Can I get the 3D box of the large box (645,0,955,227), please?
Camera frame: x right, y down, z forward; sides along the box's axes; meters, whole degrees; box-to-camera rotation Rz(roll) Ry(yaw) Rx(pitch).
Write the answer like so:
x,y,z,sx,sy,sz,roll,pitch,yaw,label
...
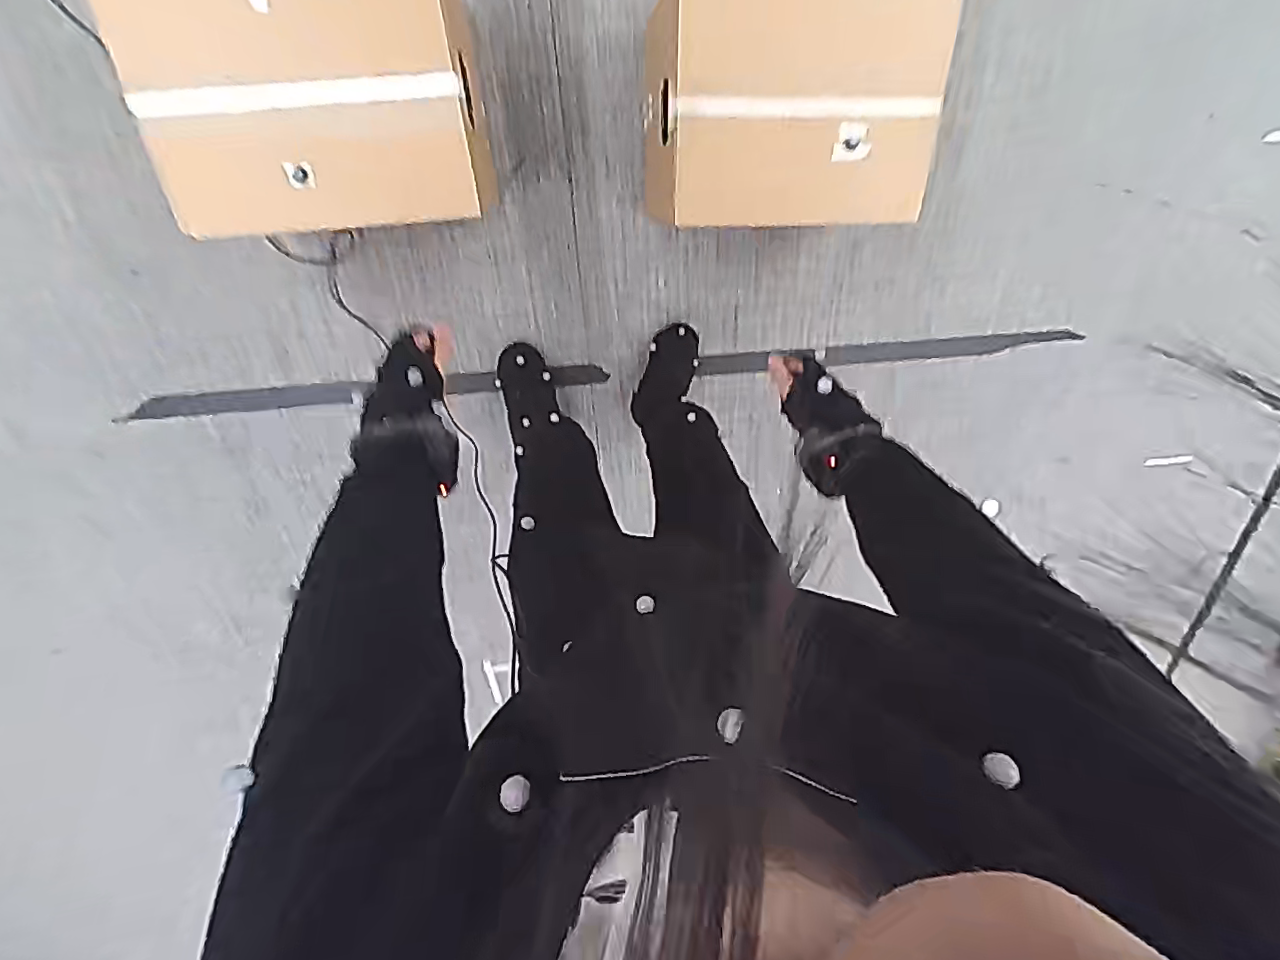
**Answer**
x,y,z,sx,sy,sz,roll,pitch,yaw,label
0.229,-0.615,0.930,0.408,0.320,0.320,-4,118,-7,large box
